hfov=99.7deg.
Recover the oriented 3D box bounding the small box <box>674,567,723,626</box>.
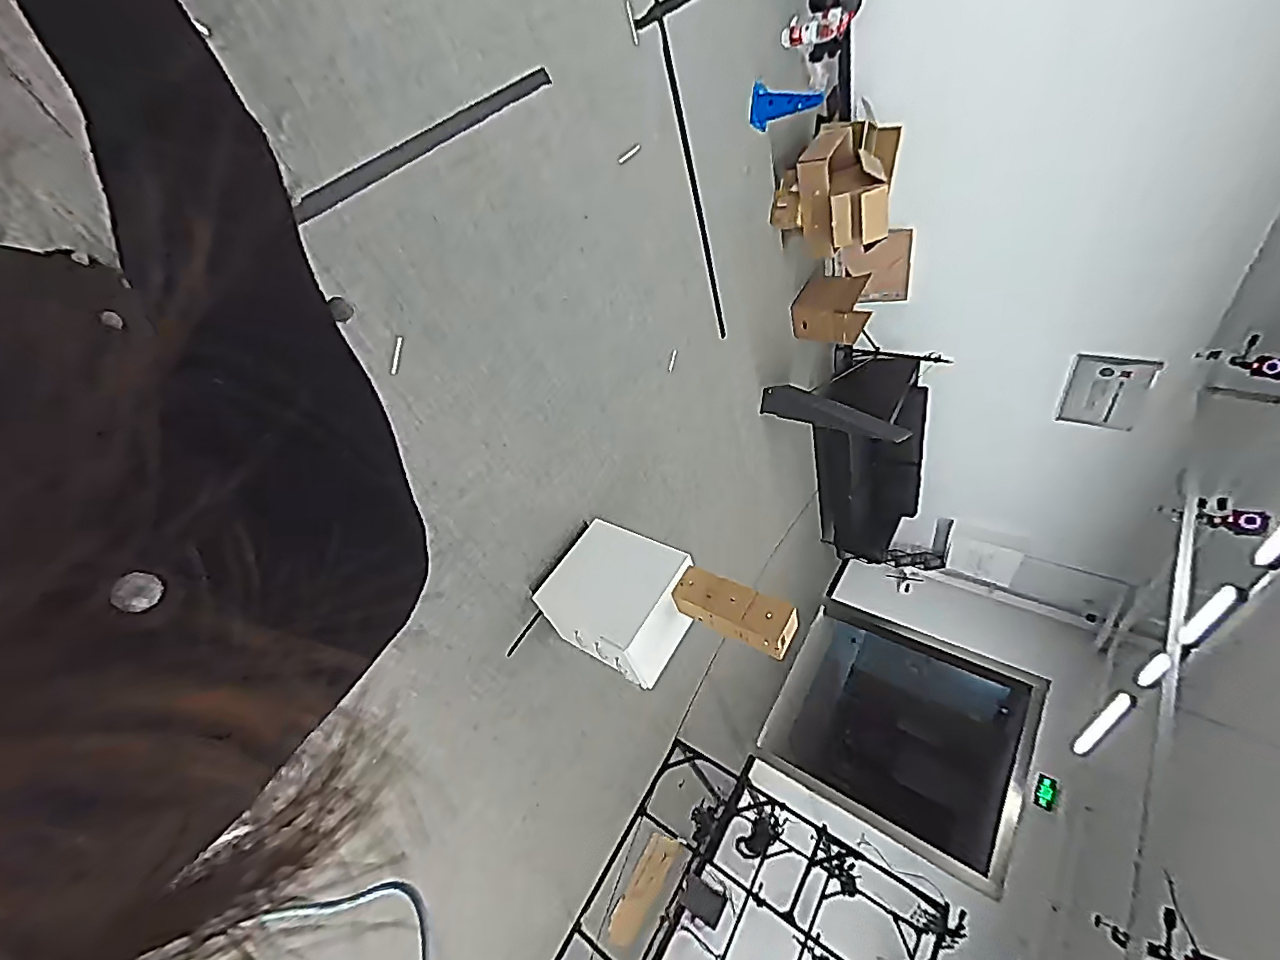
[{"bbox_3d":[0.273,0.511,2.393,0.168,0.176,0.179,-52,142,-26],"label":"small box"}]

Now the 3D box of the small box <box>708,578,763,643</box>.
[{"bbox_3d":[0.402,0.552,2.299,0.179,0.176,0.168,-52,143,-27],"label":"small box"}]
